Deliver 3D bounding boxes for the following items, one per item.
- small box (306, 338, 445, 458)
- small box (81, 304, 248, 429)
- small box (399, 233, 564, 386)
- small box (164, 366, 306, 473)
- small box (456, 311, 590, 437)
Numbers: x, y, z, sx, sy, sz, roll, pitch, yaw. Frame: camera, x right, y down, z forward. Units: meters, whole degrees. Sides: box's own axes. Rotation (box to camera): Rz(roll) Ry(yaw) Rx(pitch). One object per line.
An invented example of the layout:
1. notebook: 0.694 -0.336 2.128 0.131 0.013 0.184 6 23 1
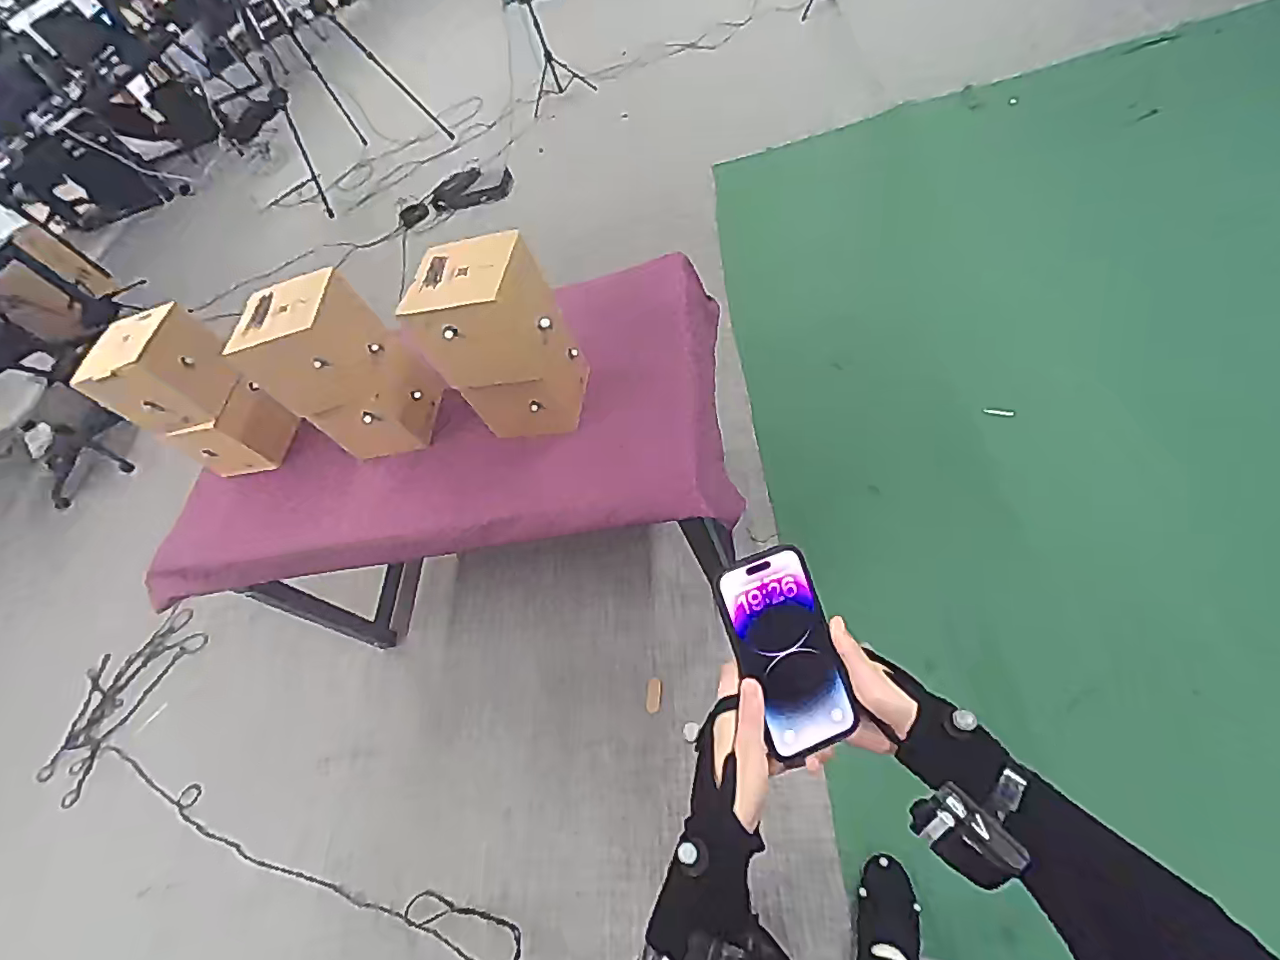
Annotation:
1. small box: -0.538 -0.164 1.127 0.179 0.176 0.168 -8 56 14
2. small box: -0.958 -0.221 1.109 0.168 0.176 0.179 -11 56 11
3. small box: -0.250 -0.271 0.894 0.179 0.176 0.168 -3 57 17
4. small box: -0.911 -0.128 1.237 0.168 0.176 0.179 -7 56 15
5. small box: -0.211 -0.197 1.036 0.179 0.176 0.168 -3 57 18
